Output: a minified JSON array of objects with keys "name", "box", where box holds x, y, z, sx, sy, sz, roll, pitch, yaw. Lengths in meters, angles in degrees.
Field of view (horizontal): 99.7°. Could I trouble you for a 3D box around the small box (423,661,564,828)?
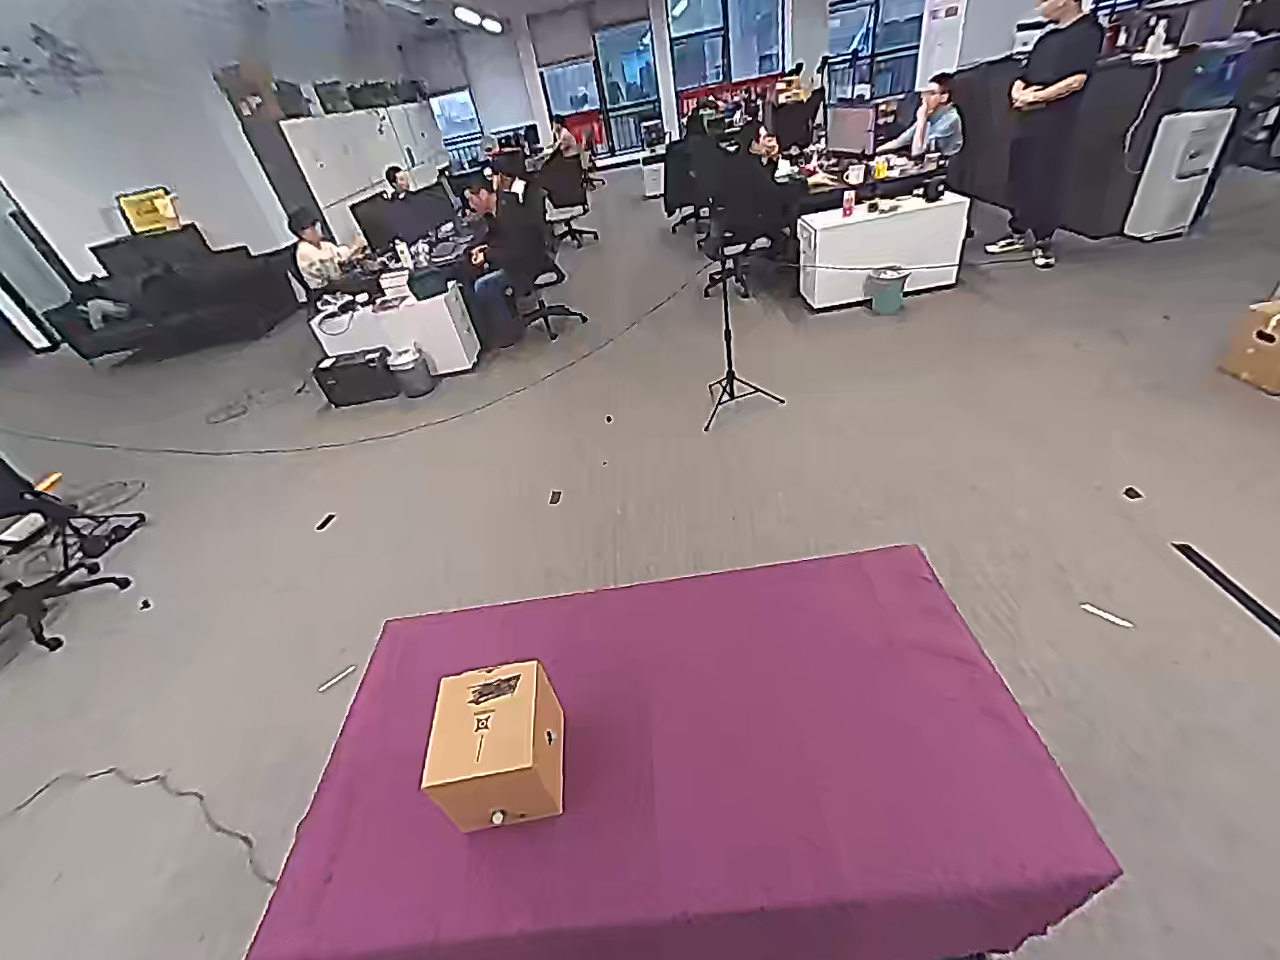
[{"name":"small box","box":[-0.226,0.431,0.885,0.168,0.176,0.179,-11,37,1]}]
